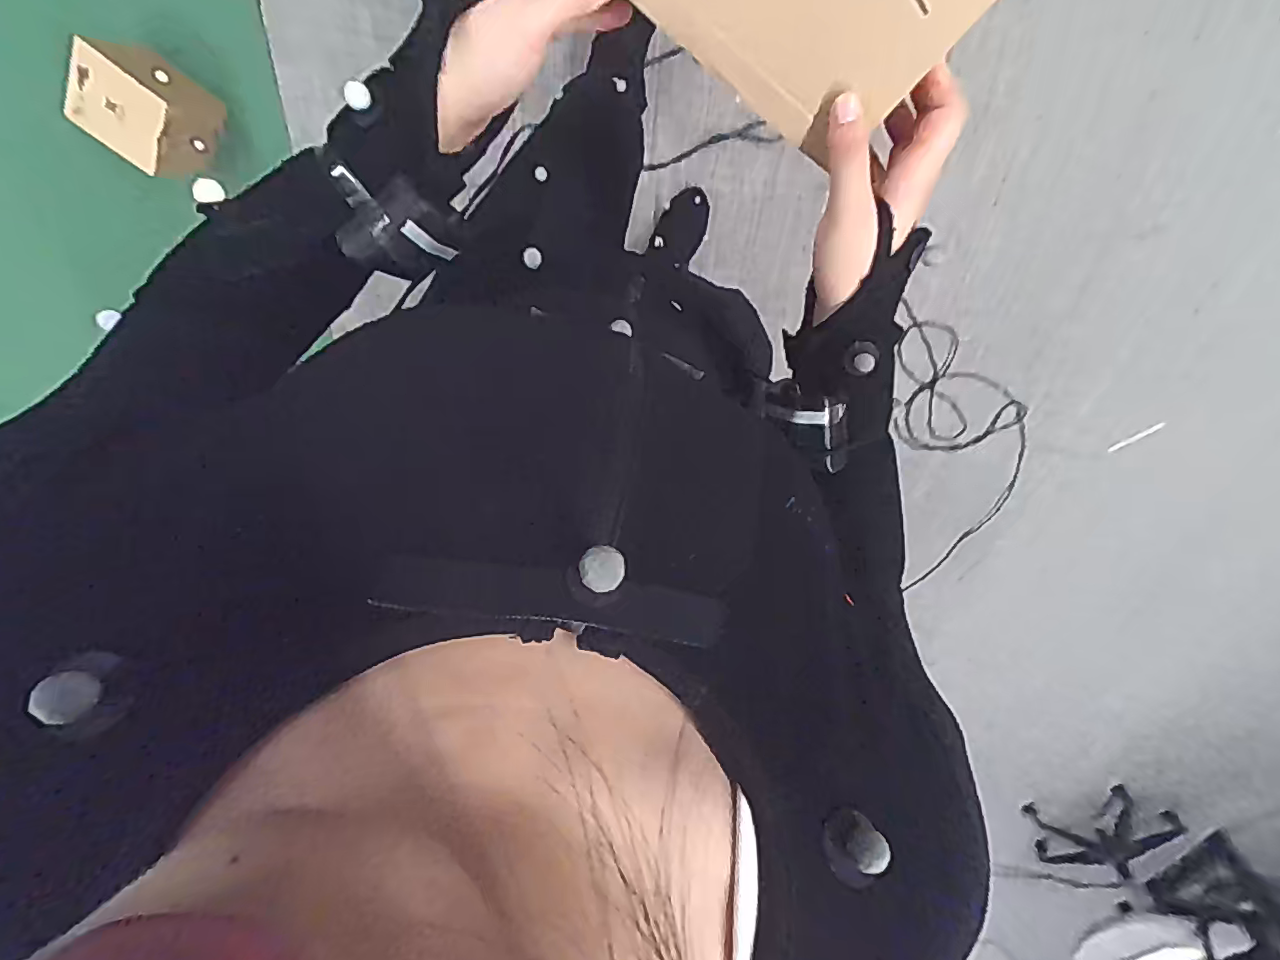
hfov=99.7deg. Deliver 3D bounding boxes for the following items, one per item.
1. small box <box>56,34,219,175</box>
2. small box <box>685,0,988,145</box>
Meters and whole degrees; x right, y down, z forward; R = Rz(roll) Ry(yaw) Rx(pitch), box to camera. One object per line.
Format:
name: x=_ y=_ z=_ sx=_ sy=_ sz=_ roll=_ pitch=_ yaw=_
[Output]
small box: x=-1.036 y=-0.777 z=1.128 sx=0.179 sy=0.176 sz=0.168 roll=36 pitch=119 yaw=-19
small box: x=0.108 y=-0.328 z=0.275 sx=0.179 sy=0.176 sz=0.168 roll=28 pitch=143 yaw=-19
